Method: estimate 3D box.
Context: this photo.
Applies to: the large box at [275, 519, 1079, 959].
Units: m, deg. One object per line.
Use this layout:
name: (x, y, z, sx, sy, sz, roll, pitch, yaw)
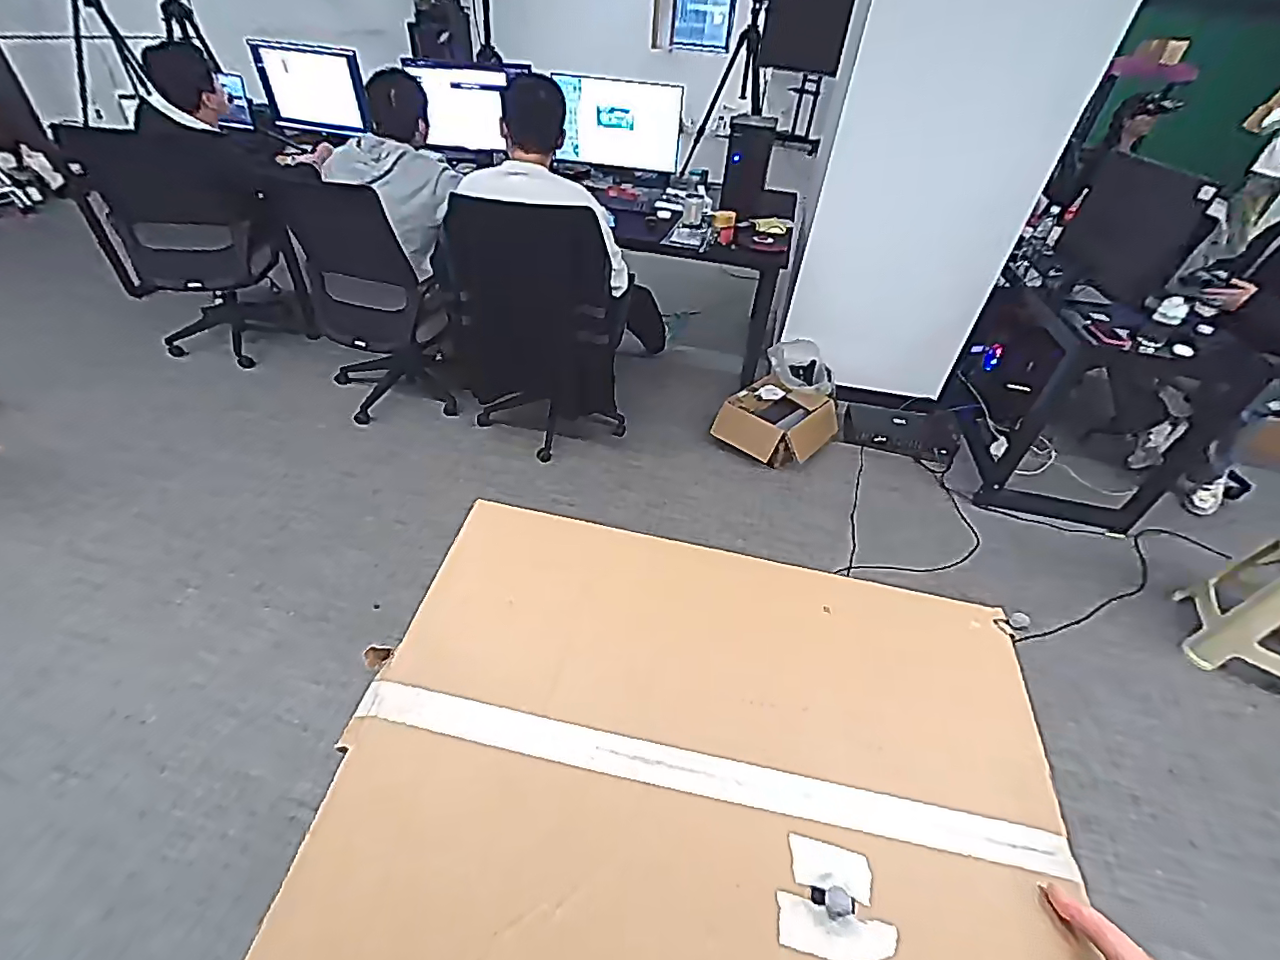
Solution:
large box: (0.026, 0.275, 0.433, 0.408, 0.320, 0.320, 12, 50, 3)
